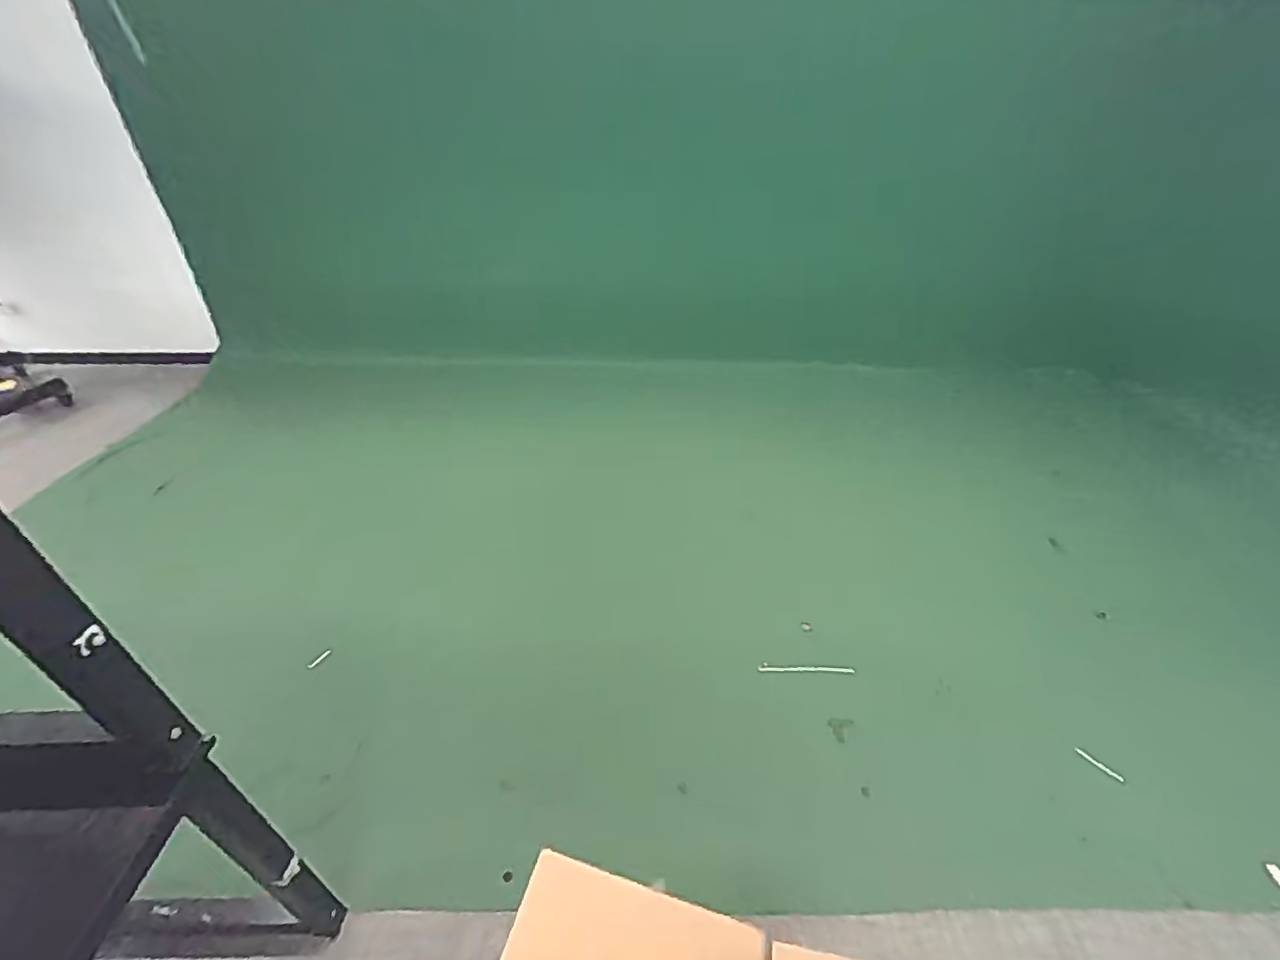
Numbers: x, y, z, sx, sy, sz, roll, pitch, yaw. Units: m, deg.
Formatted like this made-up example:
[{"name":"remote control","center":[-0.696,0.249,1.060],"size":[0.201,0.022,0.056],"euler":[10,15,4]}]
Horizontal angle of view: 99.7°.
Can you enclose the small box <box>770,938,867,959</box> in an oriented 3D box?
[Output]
[{"name":"small box","center":[0.305,0.924,0.917],"size":[0.179,0.176,0.168],"euler":[7,37,9]}]

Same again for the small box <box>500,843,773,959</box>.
[{"name":"small box","center":[-0.016,0.402,0.382],"size":[0.179,0.176,0.168],"euler":[13,39,10]}]
